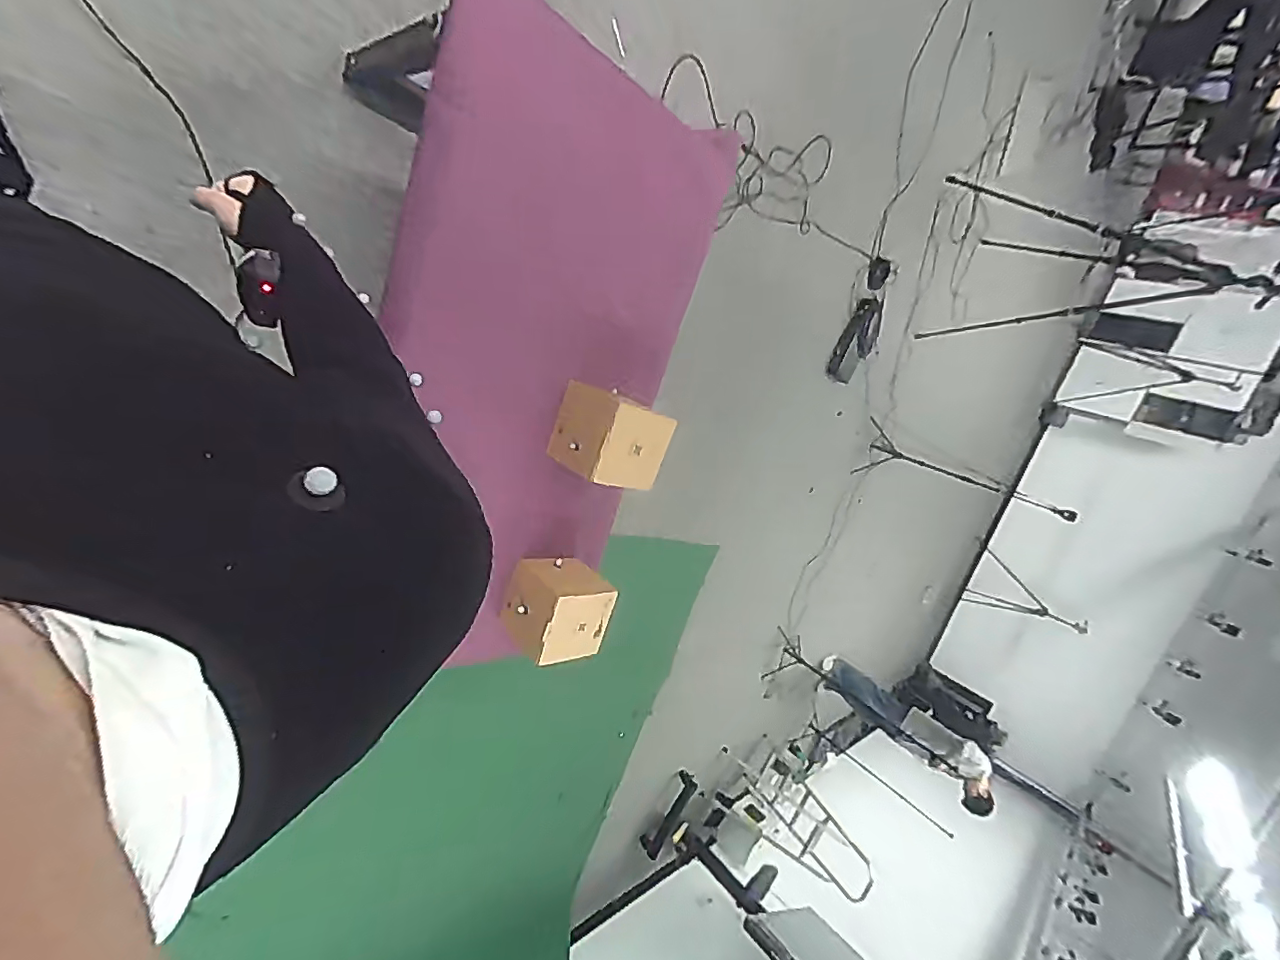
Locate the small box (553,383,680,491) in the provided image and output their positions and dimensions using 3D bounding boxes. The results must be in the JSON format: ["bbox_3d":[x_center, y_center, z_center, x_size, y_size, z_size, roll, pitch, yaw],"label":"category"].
[{"bbox_3d":[-0.054,-0.093,1.133,0.179,0.176,0.168,10,105,-47],"label":"small box"}]

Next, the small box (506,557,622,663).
[{"bbox_3d":[-0.178,0.285,1.223,0.179,0.176,0.168,7,107,-46],"label":"small box"}]
